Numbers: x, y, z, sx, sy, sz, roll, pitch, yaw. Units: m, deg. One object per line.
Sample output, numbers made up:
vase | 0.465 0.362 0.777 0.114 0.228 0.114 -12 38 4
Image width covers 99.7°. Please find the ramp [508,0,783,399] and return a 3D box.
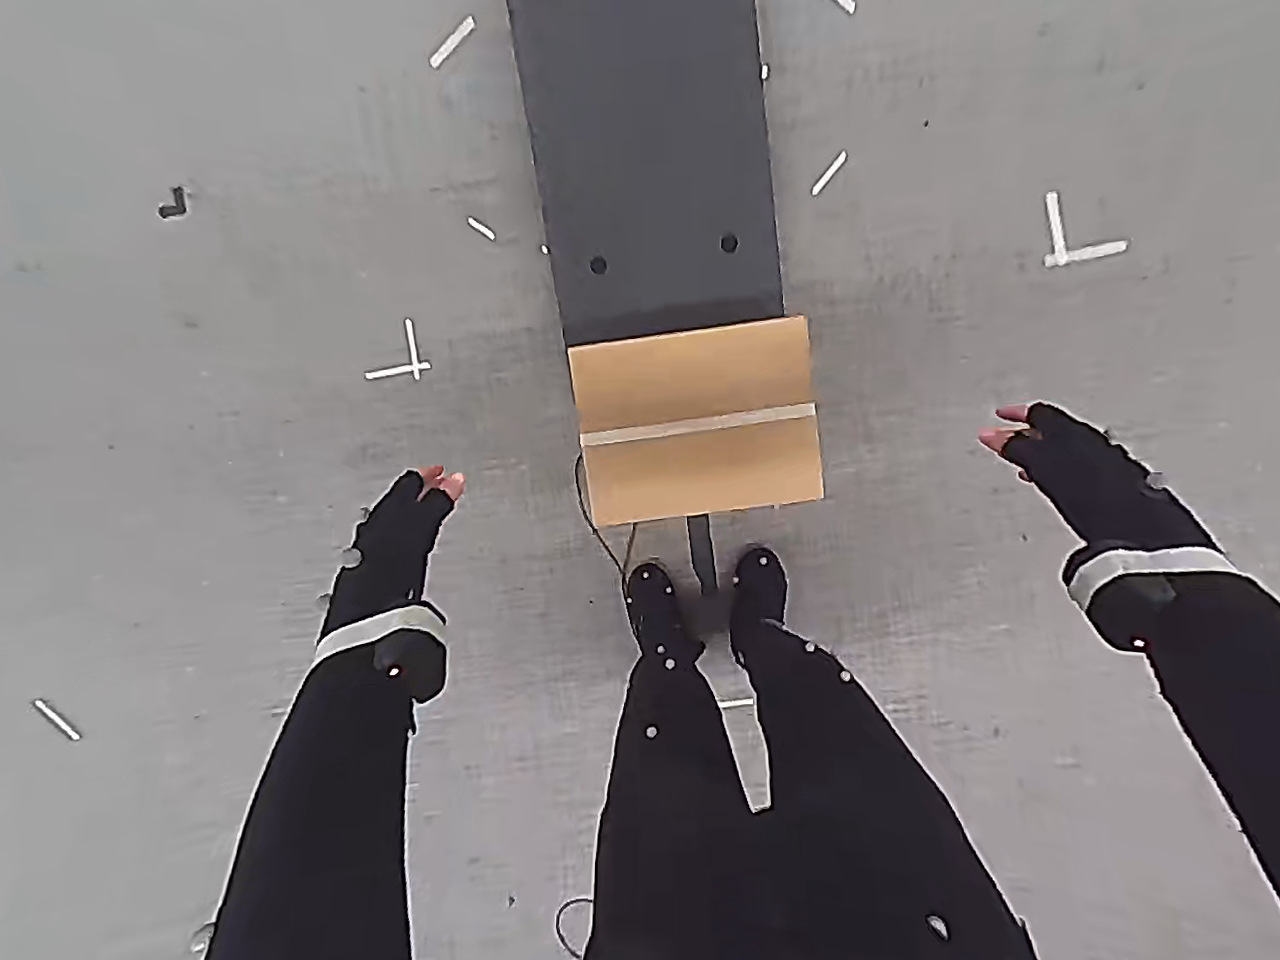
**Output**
ramp | 0.023 -0.688 1.129 0.509 0.206 0.991 -9 92 1

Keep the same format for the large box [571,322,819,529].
large box | 0.101 -0.106 1.077 0.408 0.320 0.320 -7 95 2
